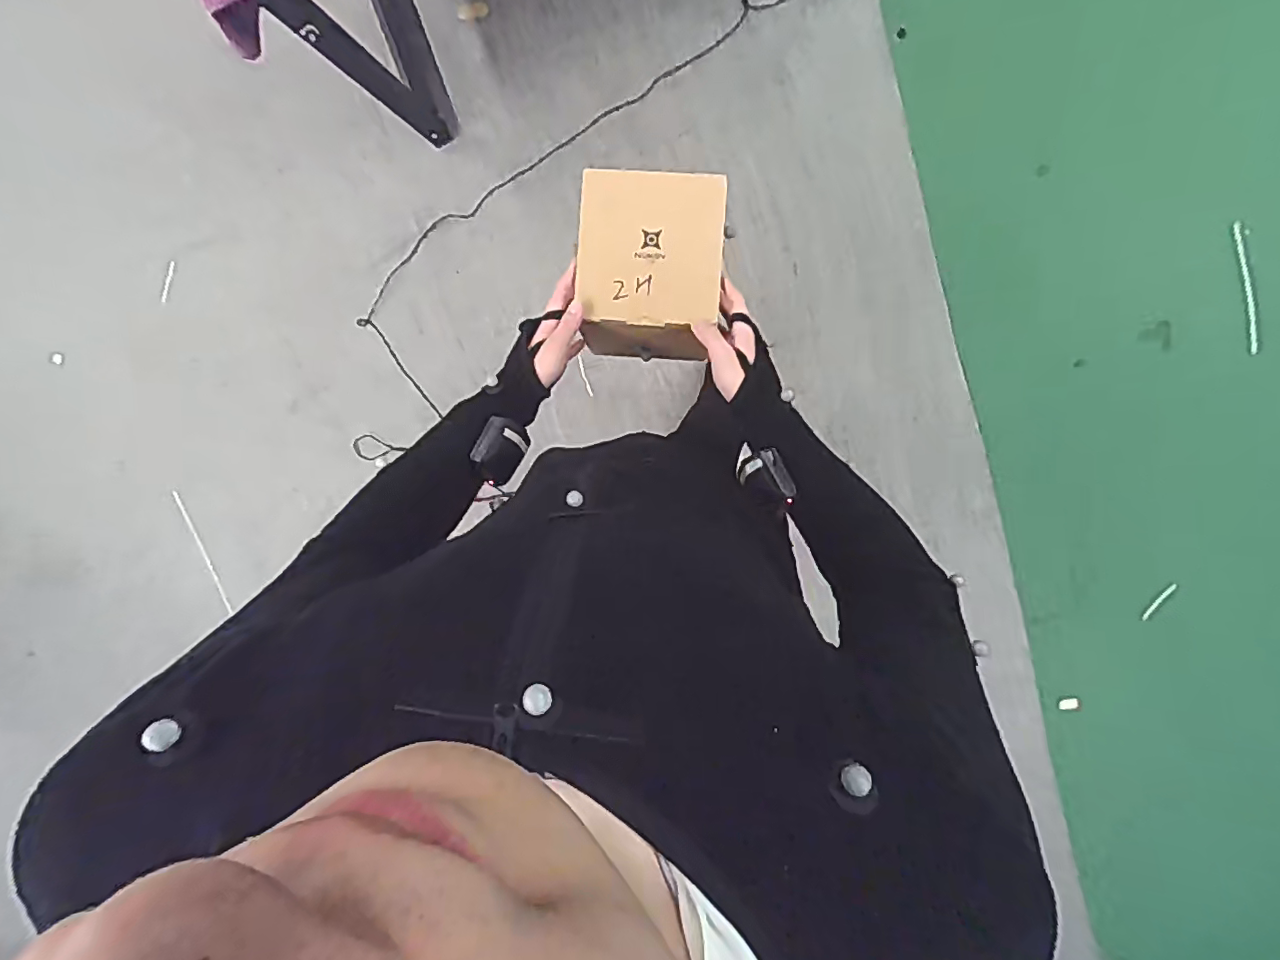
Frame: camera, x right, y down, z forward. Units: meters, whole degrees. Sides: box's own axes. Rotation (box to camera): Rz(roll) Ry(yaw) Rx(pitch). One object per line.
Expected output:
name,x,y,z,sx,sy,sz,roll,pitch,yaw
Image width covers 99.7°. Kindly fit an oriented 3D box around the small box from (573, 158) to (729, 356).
small box,0.014,-0.267,0.680,0.168,0.176,0.179,4,90,2
